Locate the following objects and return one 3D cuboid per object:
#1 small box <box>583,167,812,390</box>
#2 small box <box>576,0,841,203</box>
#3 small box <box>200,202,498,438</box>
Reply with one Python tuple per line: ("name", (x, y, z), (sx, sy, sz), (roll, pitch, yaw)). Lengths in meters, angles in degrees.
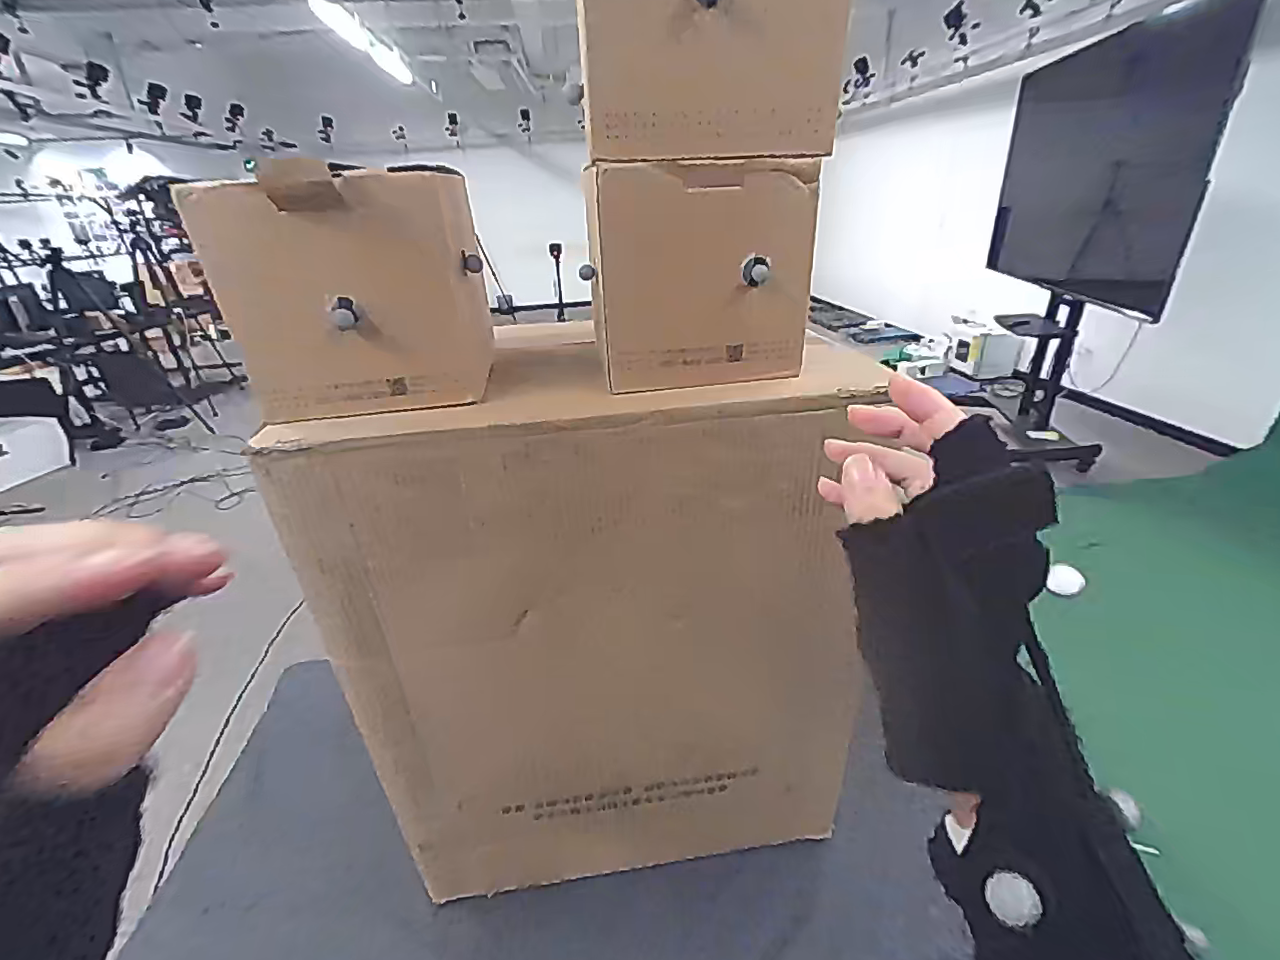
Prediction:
("small box", (0.039, -0.184, 0.496), (0.168, 0.176, 0.179), (-5, 27, -7))
("small box", (0.042, -0.315, 0.427), (0.179, 0.176, 0.168), (-4, 28, -3))
("small box", (-0.227, -0.144, 0.484), (0.168, 0.176, 0.179), (-9, 29, -8))
